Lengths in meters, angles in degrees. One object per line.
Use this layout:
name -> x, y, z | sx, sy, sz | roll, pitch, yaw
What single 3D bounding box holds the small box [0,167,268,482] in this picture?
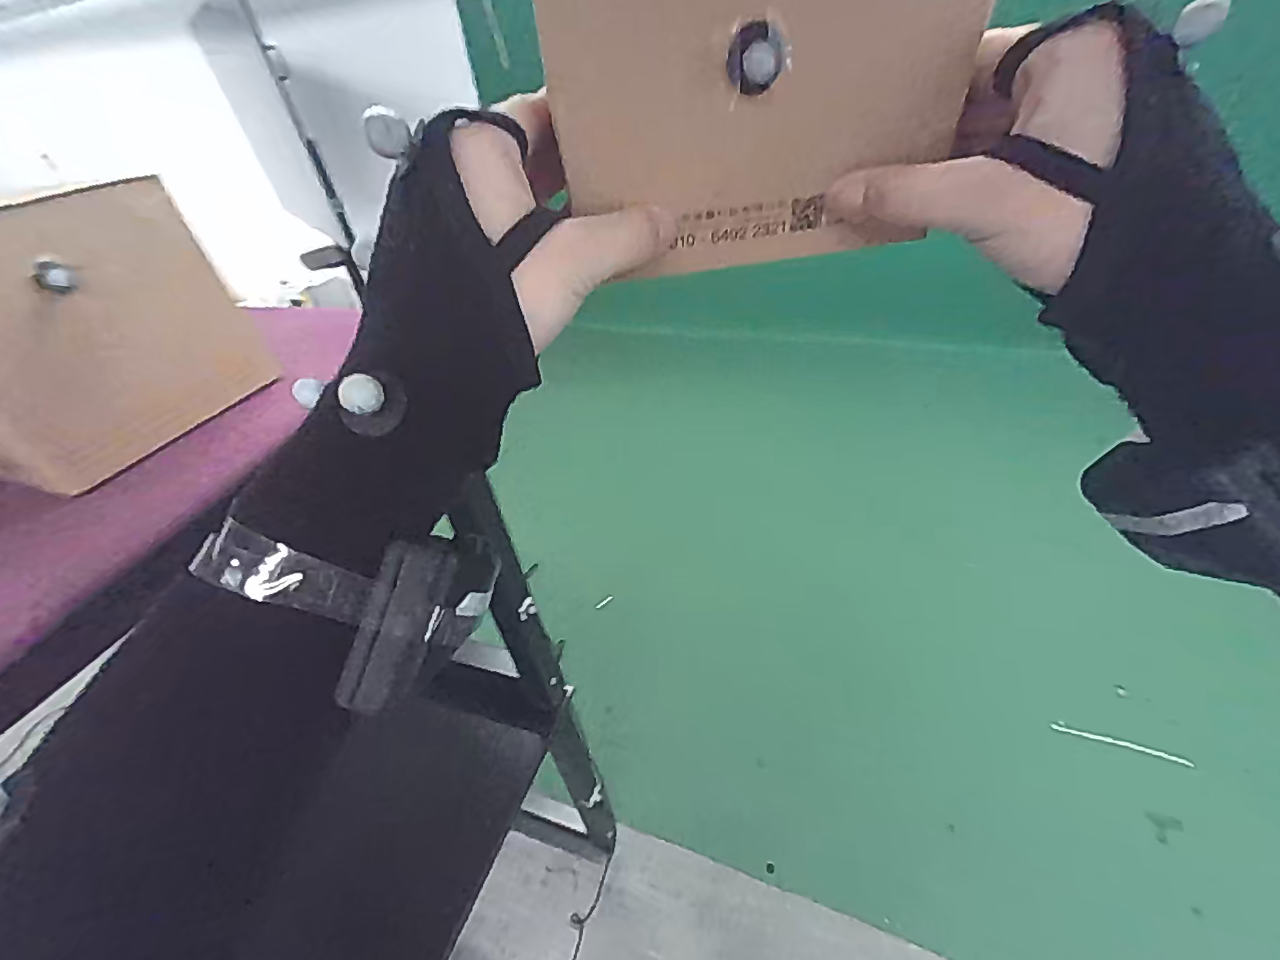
small box -> -0.441, -0.117, 0.407 | 0.168, 0.176, 0.179 | 8, 40, 21
